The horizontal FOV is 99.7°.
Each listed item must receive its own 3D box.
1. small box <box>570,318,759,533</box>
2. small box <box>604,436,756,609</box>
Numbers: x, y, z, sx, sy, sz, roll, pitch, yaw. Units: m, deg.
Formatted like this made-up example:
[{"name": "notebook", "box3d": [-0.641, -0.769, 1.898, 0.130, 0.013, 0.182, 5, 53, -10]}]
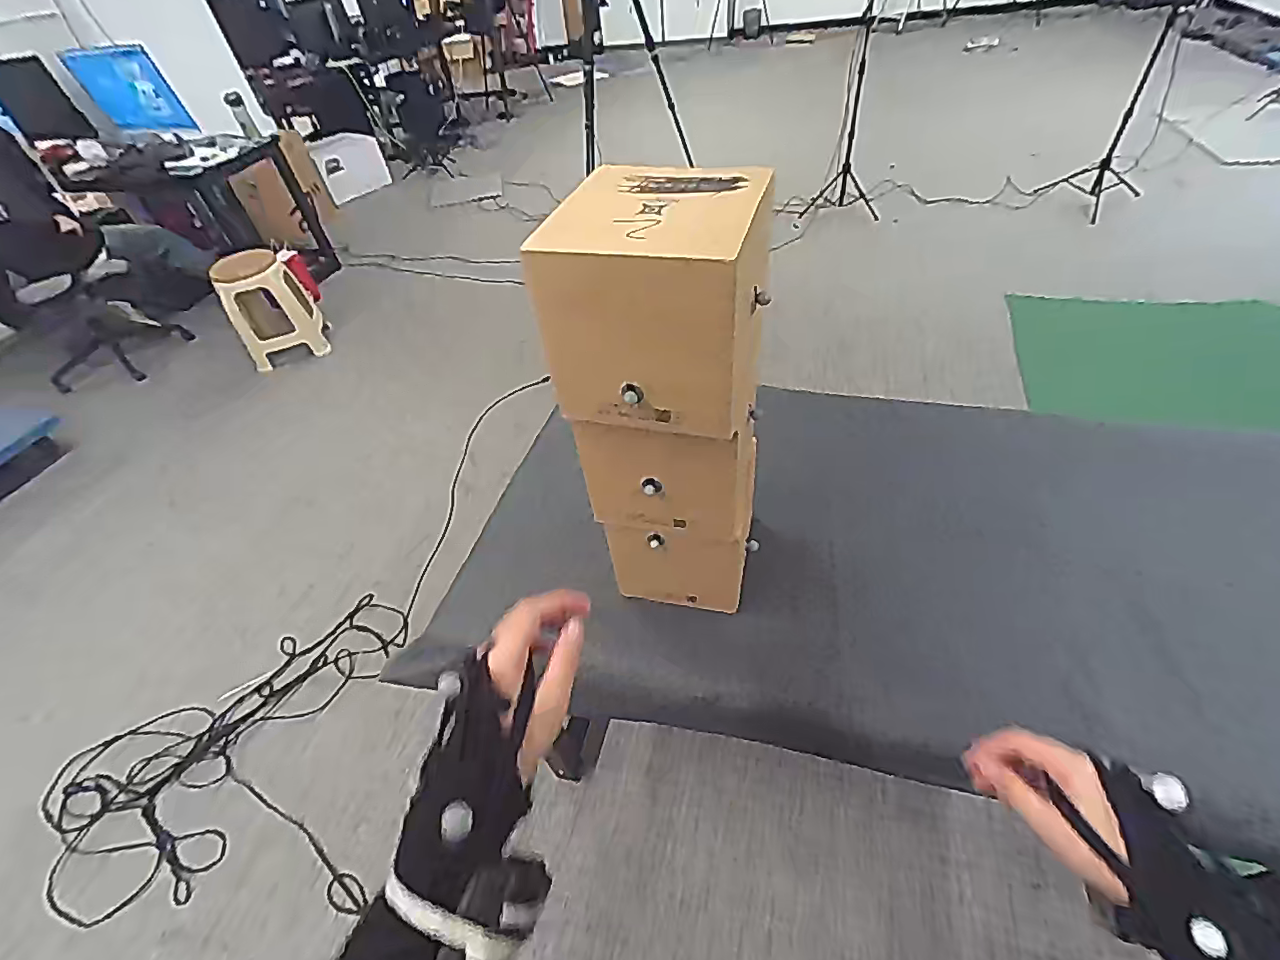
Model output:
[{"name": "small box", "box3d": [0.038, -0.062, 0.616, 0.168, 0.176, 0.179, 8, 48, 14]}, {"name": "small box", "box3d": [0.060, 0.048, 0.738, 0.168, 0.176, 0.179, 7, 47, 14]}]
